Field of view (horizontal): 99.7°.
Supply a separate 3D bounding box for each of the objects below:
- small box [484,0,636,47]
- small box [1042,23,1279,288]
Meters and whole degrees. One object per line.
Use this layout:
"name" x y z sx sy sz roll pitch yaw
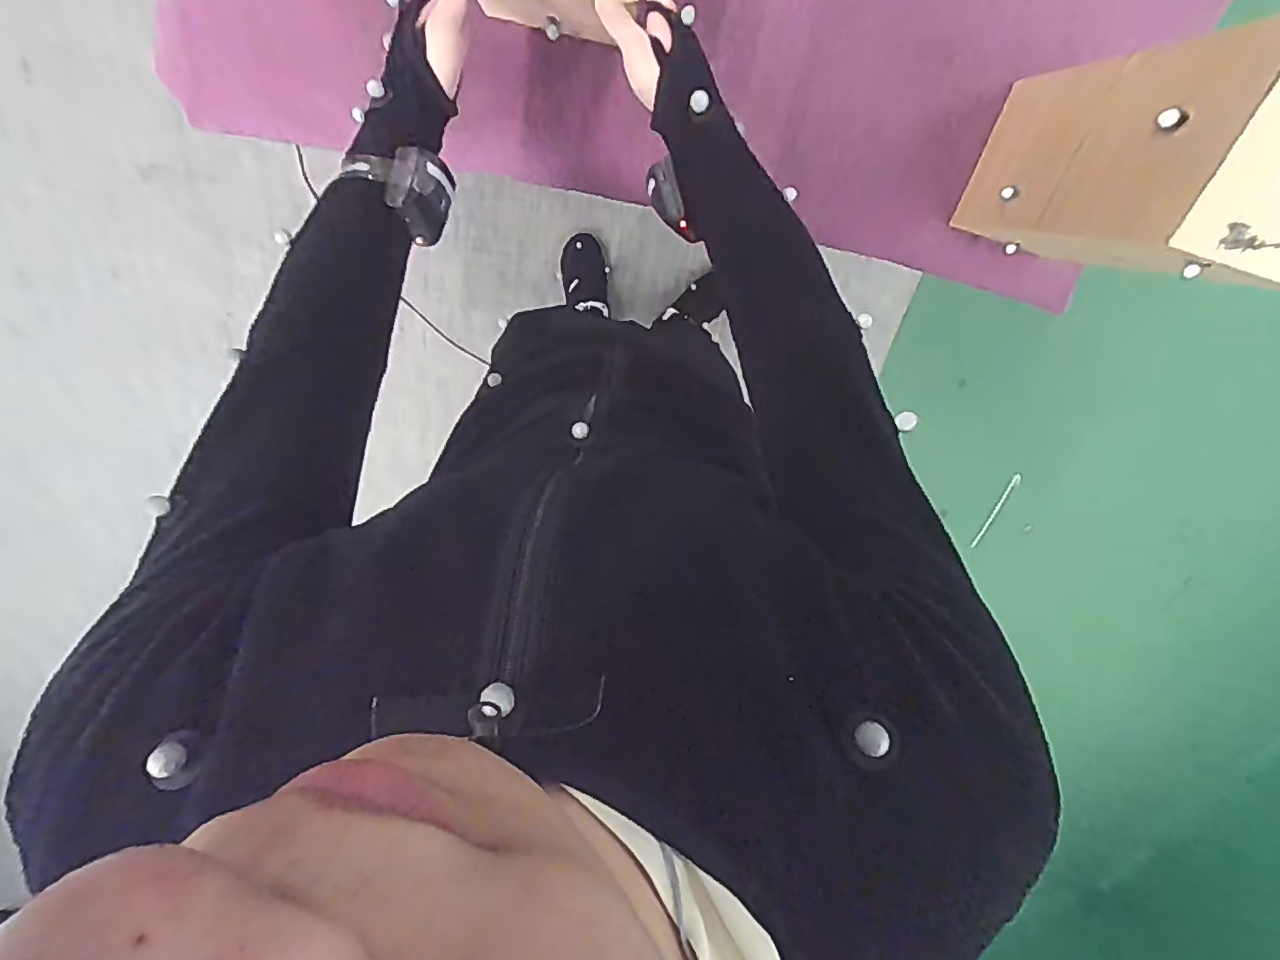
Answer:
"small box" -0.077 -0.556 0.517 0.168 0.176 0.179 7 118 -9
"small box" 0.553 -0.305 0.528 0.168 0.176 0.179 11 116 -10
